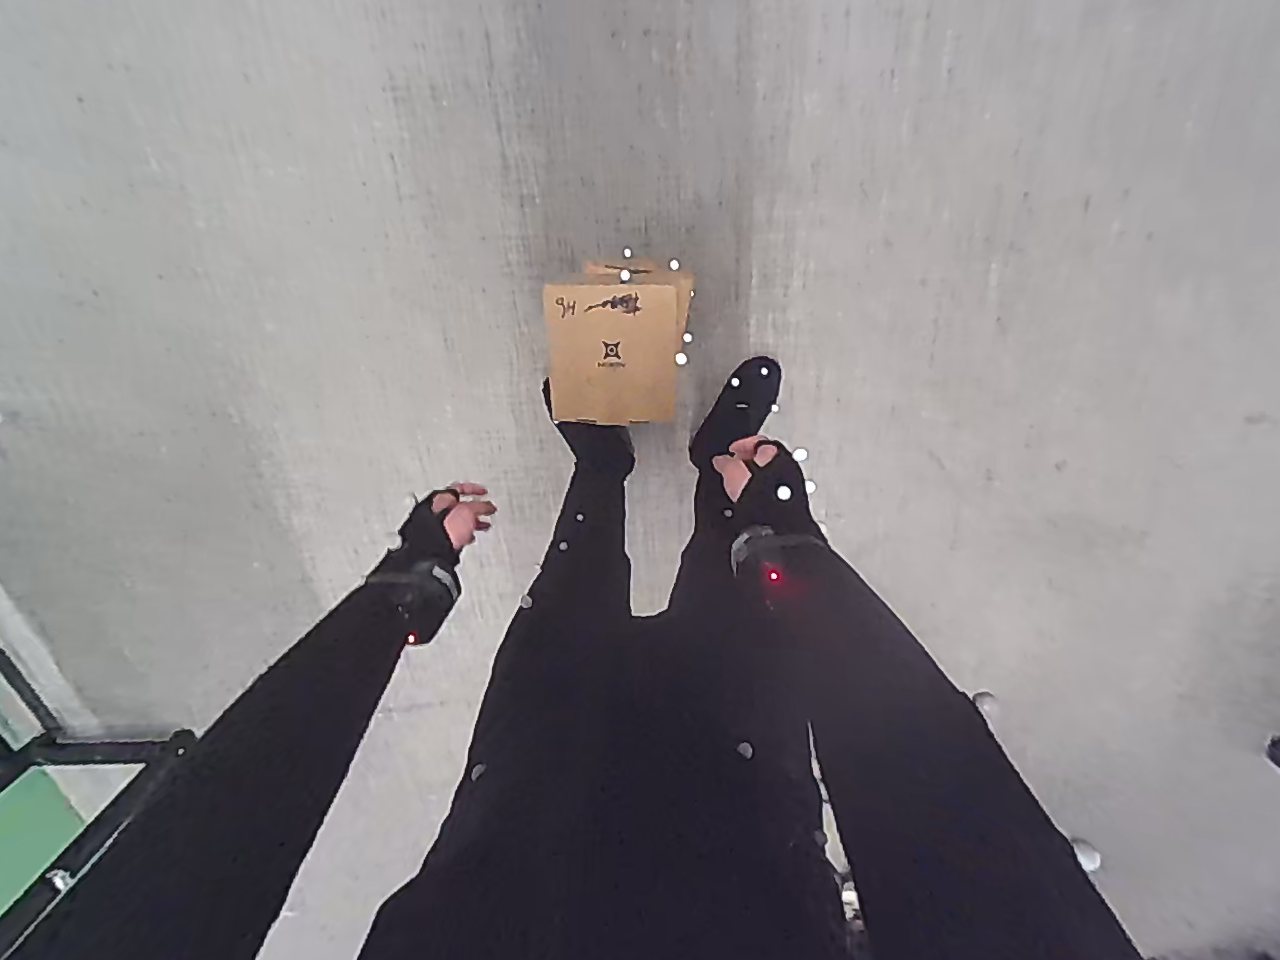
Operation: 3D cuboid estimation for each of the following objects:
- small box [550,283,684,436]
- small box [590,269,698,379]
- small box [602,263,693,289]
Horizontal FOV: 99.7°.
[{"bbox_3d":[-0.024,-0.176,0.765,0.168,0.176,0.179,2,115,3],"label":"small box"},{"bbox_3d":[-0.003,-0.248,0.909,0.168,0.176,0.179,10,116,0],"label":"small box"},{"bbox_3d":[0.005,-0.318,1.058,0.168,0.176,0.179,9,116,0],"label":"small box"}]
